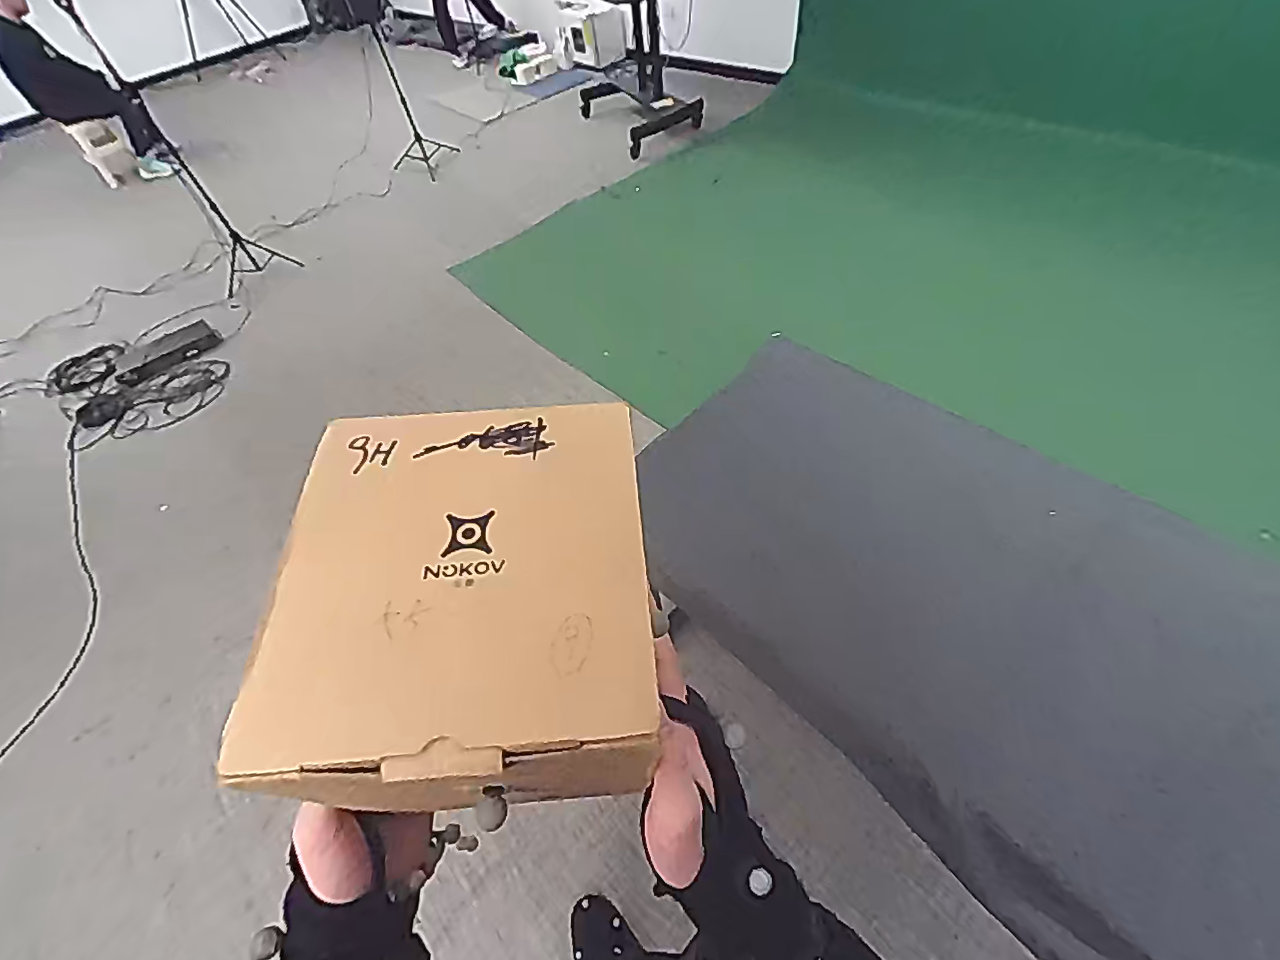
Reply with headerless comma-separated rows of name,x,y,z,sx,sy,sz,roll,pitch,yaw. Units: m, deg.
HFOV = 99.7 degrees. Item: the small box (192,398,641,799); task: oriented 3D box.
small box,-0.086,0.075,0.307,0.168,0.176,0.179,-2,56,-4
